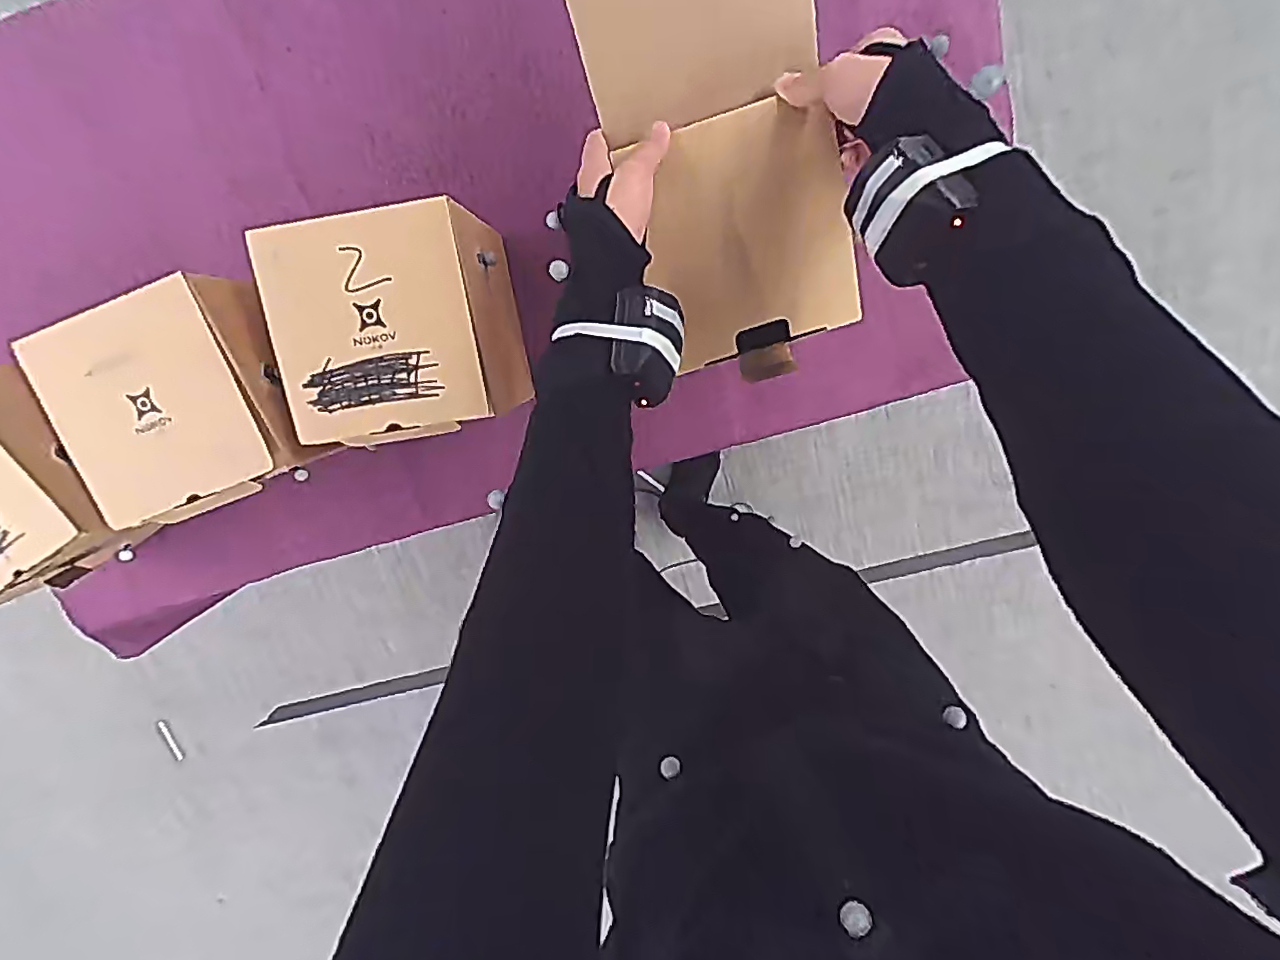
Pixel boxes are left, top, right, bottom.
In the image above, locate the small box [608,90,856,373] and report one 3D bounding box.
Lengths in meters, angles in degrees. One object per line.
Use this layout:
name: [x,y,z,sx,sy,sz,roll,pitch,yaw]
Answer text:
small box: [0.075,-0.207,0.501,0.168,0.176,0.179,-16,104,5]
